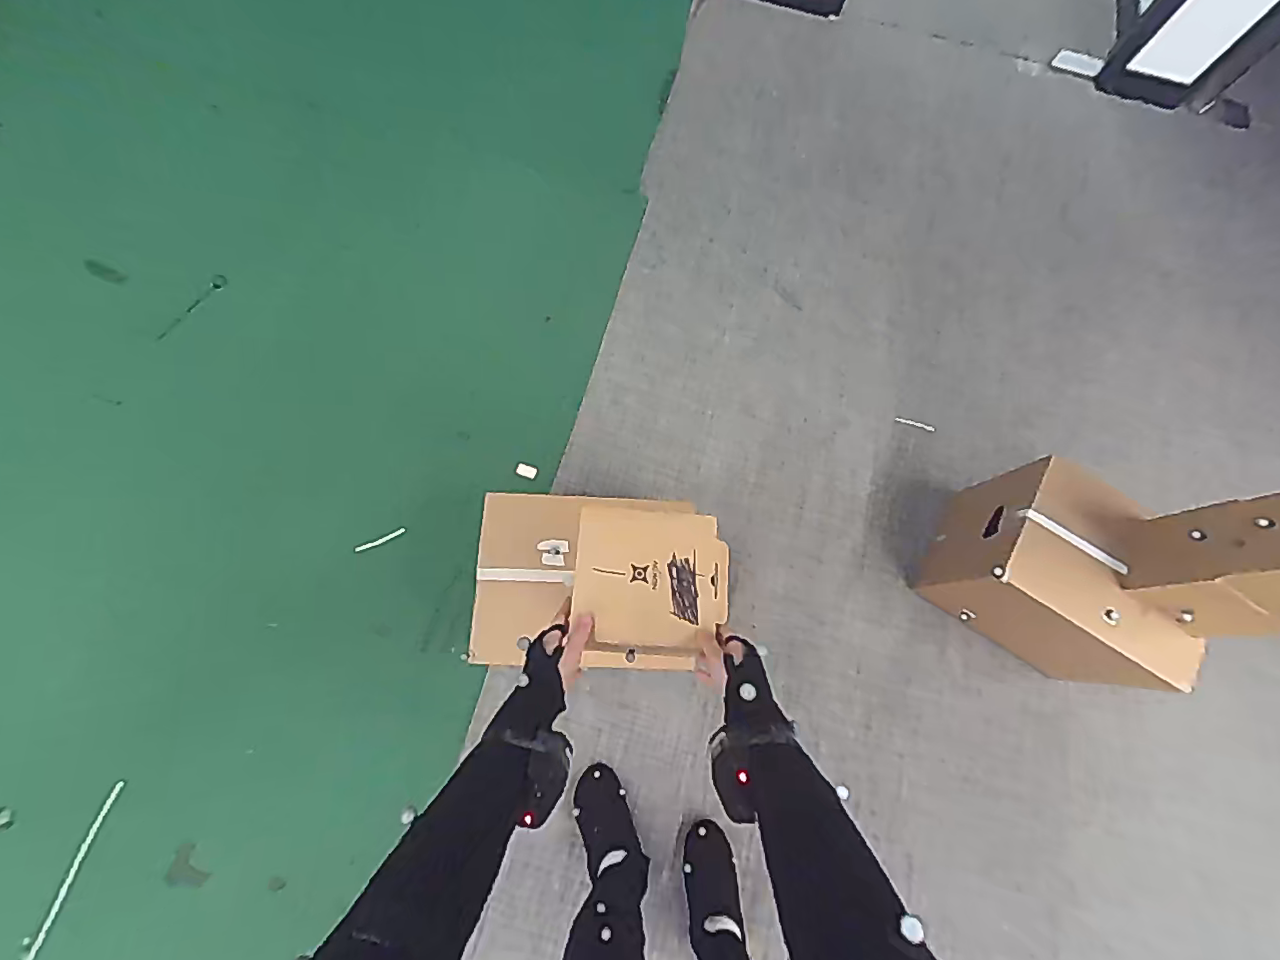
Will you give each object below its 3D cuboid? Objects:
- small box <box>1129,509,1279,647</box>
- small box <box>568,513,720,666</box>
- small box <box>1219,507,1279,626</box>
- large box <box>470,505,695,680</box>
[{"bbox_3d":[1.053,0.184,0.983,0.168,0.176,0.179,34,72,6],"label":"small box"},{"bbox_3d":[0.001,0.154,0.722,0.179,0.176,0.168,5,67,-3],"label":"small box"},{"bbox_3d":[1.074,0.139,0.828,0.179,0.176,0.168,35,72,7],"label":"small box"},{"bbox_3d":[-0.103,0.242,1.136,0.408,0.320,0.320,2,72,-2],"label":"large box"}]
